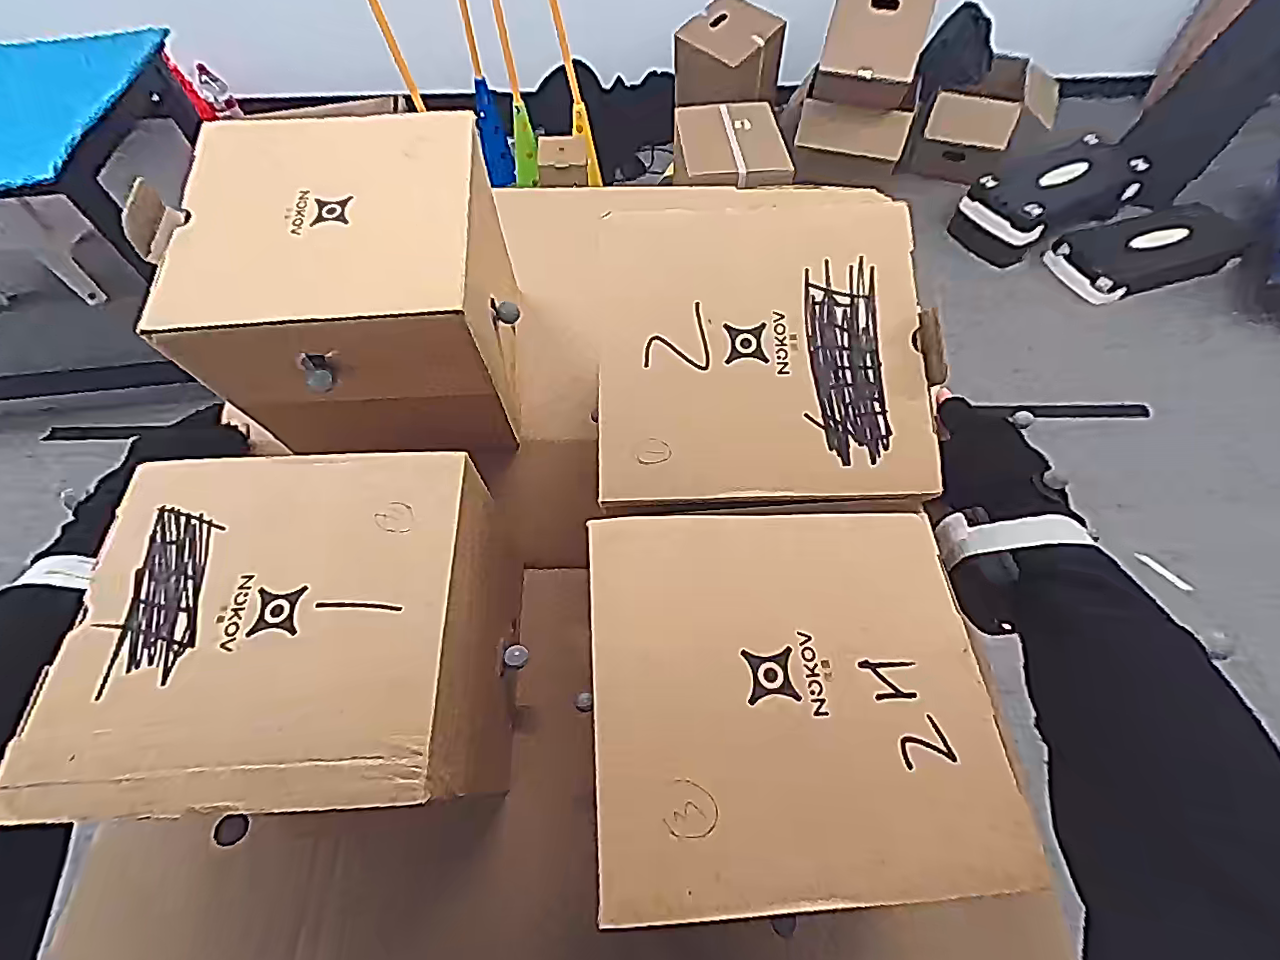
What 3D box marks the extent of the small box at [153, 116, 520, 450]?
[{"bbox_3d":[-0.191,-0.133,0.406,0.179,0.176,0.168,-4,68,-1],"label":"small box"}]
